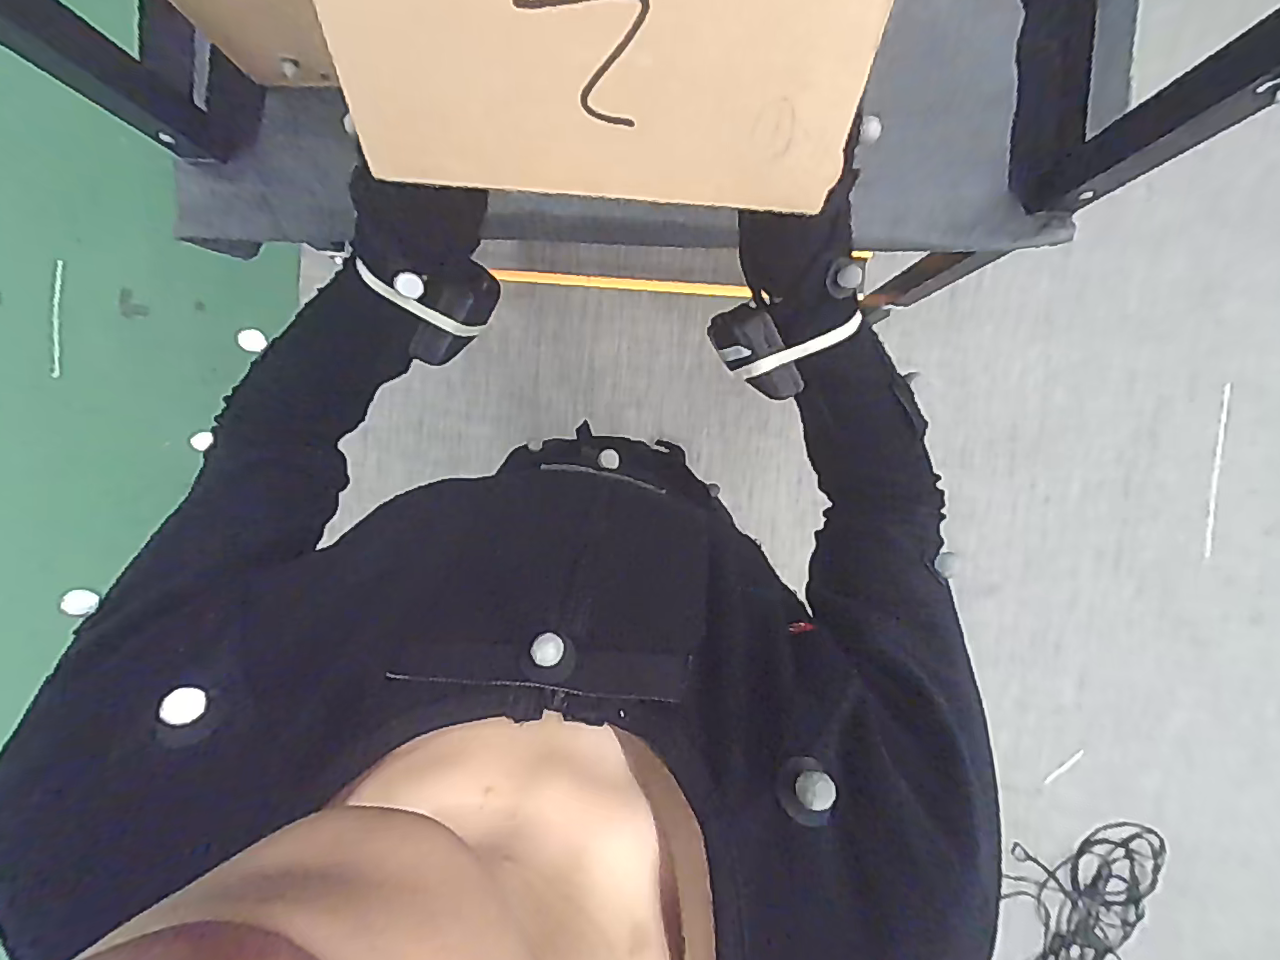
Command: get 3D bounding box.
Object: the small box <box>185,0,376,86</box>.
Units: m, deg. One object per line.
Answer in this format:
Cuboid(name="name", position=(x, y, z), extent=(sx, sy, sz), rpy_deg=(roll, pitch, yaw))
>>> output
Cuboid(name="small box", position=(-0.428, -0.608, 0.631), extent=(0.168, 0.176, 0.179), rpy_deg=(1, 94, 0))
